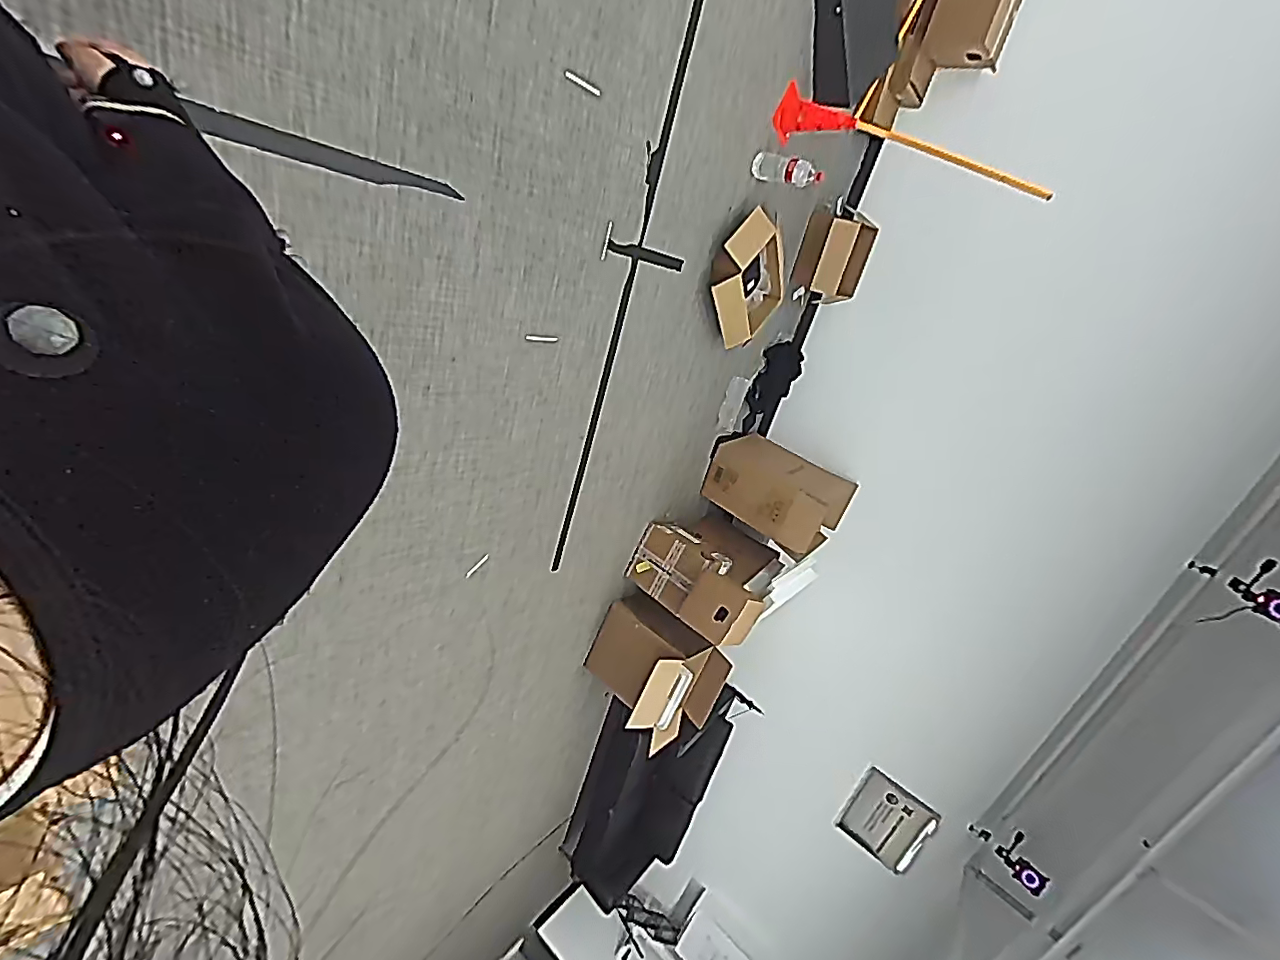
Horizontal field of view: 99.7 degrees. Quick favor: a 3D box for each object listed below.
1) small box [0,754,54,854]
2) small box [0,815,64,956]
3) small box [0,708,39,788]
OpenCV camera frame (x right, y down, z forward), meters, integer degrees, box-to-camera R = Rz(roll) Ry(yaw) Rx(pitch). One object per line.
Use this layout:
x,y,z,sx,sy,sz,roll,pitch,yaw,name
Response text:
-1.365,0.716,1.118,0.168,0.176,0.179,-21,134,-48,small box
-1.248,0.791,1.029,0.168,0.176,0.179,-21,132,-48,small box
-1.487,0.639,1.197,0.168,0.176,0.179,-19,132,-49,small box
